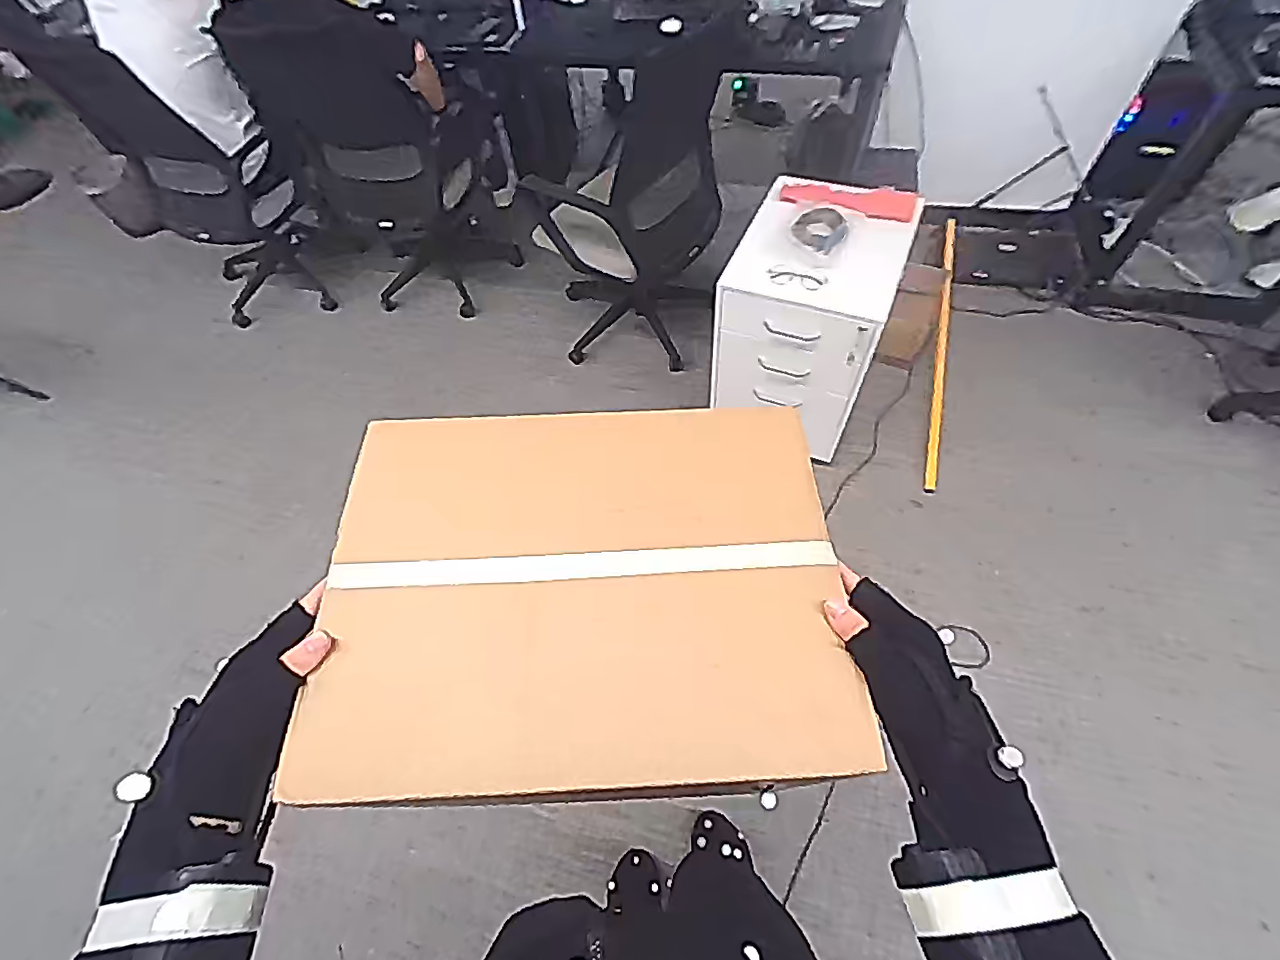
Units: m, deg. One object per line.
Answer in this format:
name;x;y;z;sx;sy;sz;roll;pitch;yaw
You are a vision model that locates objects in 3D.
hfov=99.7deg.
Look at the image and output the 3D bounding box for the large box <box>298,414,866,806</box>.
large box;-0.044;0.153;0.577;0.408;0.320;0.320;-3;58;-1
